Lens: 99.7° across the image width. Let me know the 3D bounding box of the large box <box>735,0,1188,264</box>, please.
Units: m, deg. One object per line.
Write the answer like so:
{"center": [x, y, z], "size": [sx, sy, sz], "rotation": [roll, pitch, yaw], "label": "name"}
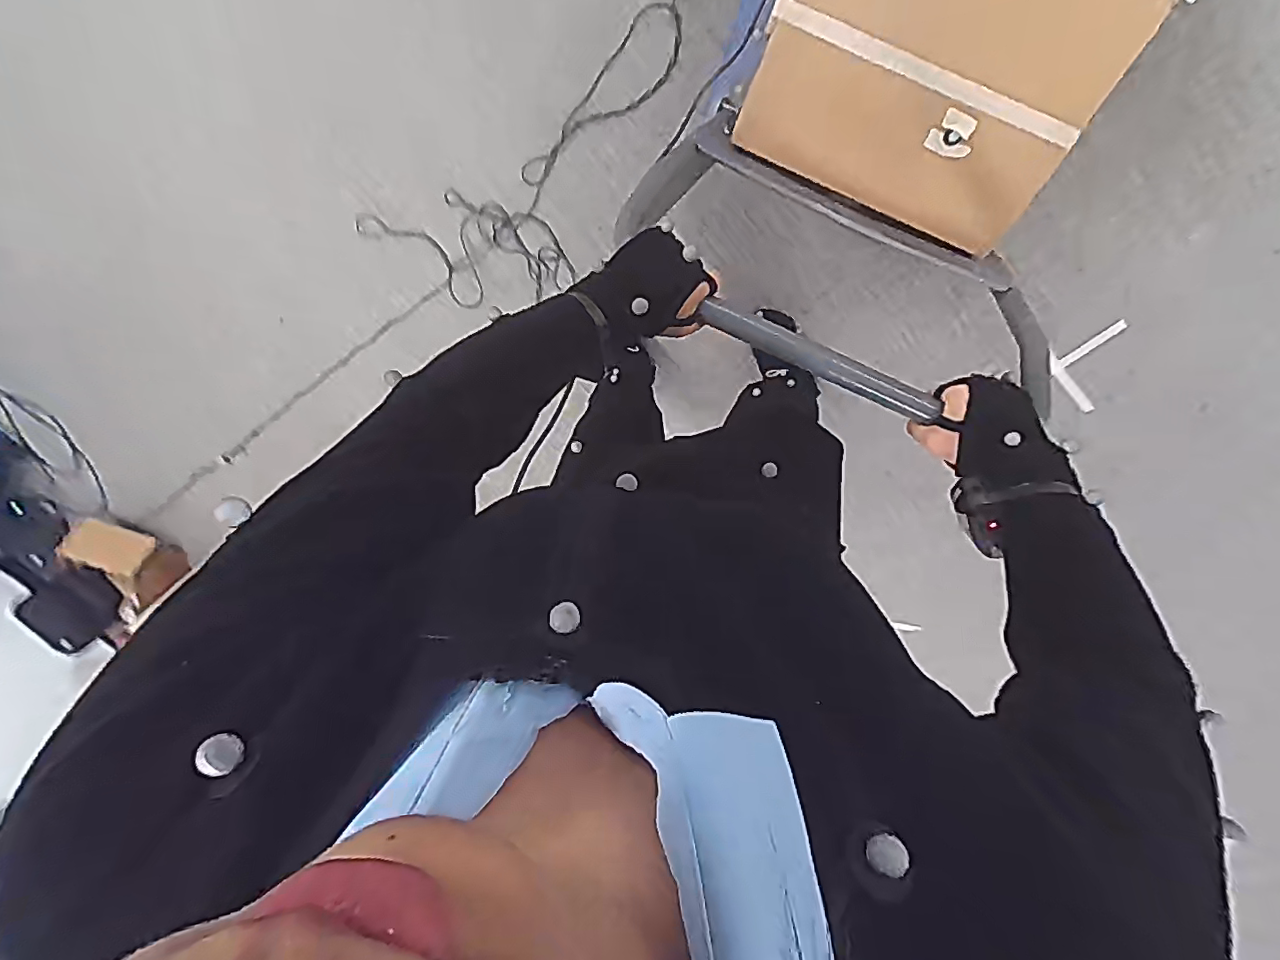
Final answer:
{"center": [0.394, -0.575, 0.784], "size": [0.408, 0.320, 0.320], "rotation": [24, 130, -1], "label": "large box"}
